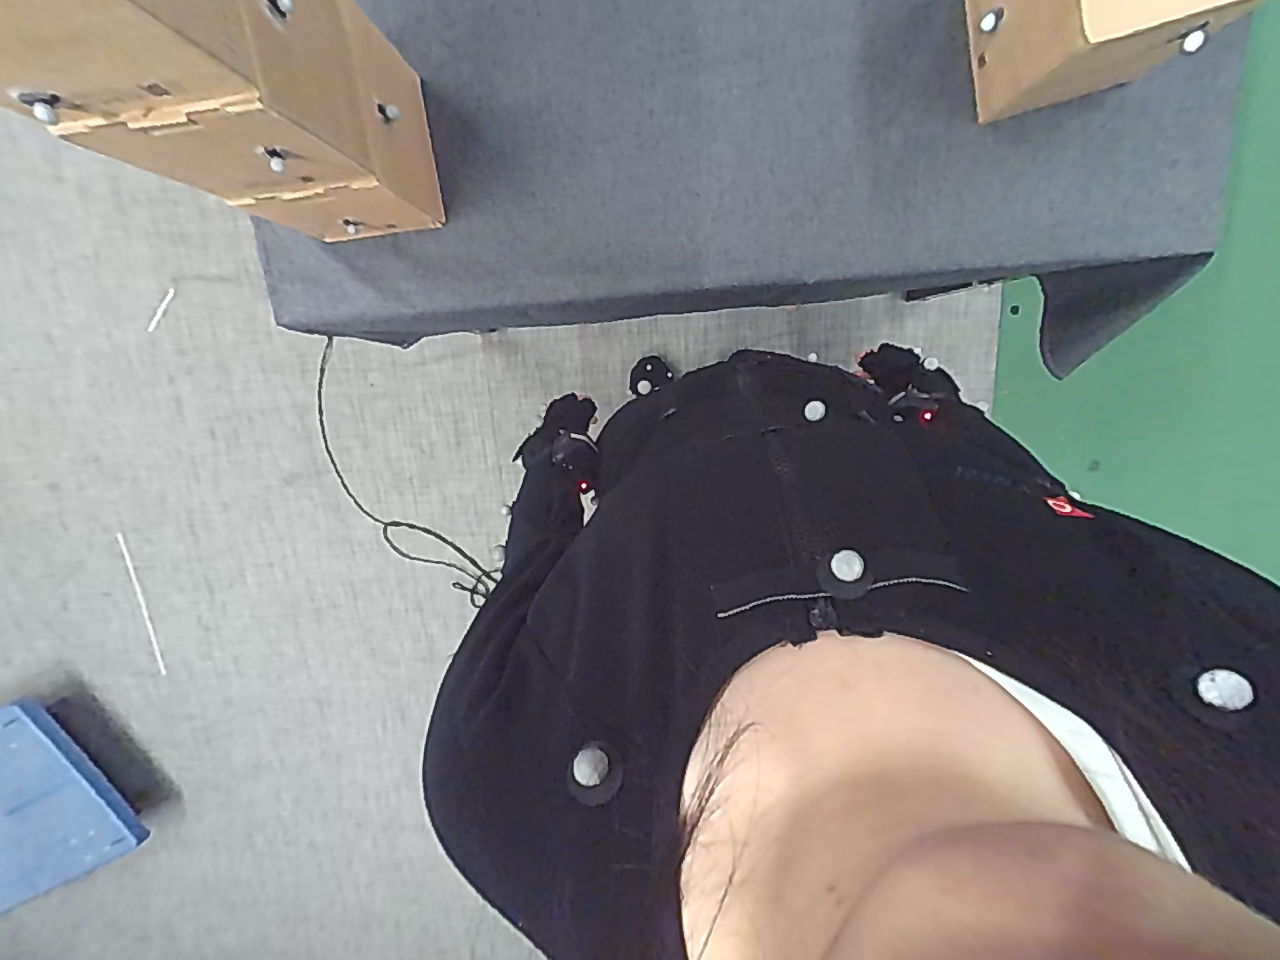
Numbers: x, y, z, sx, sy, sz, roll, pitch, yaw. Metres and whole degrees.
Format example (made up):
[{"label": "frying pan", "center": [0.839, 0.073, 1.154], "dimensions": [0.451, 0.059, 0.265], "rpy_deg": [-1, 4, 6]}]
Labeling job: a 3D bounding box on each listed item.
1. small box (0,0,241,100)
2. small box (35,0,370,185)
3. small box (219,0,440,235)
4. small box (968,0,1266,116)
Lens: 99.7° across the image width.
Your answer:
[{"label": "small box", "center": [-0.357, -0.330, 0.280], "dimensions": [0.168, 0.176, 0.179], "rpy_deg": [-7, 102, 3]}, {"label": "small box", "center": [-0.350, -0.359, 0.442], "dimensions": [0.168, 0.176, 0.179], "rpy_deg": [-5, 102, 3]}, {"label": "small box", "center": [-0.345, -0.392, 0.601], "dimensions": [0.168, 0.176, 0.179], "rpy_deg": [-6, 103, 4]}, {"label": "small box", "center": [0.461, -0.500, 0.532], "dimensions": [0.179, 0.176, 0.168], "rpy_deg": [-13, 101, 6]}]
